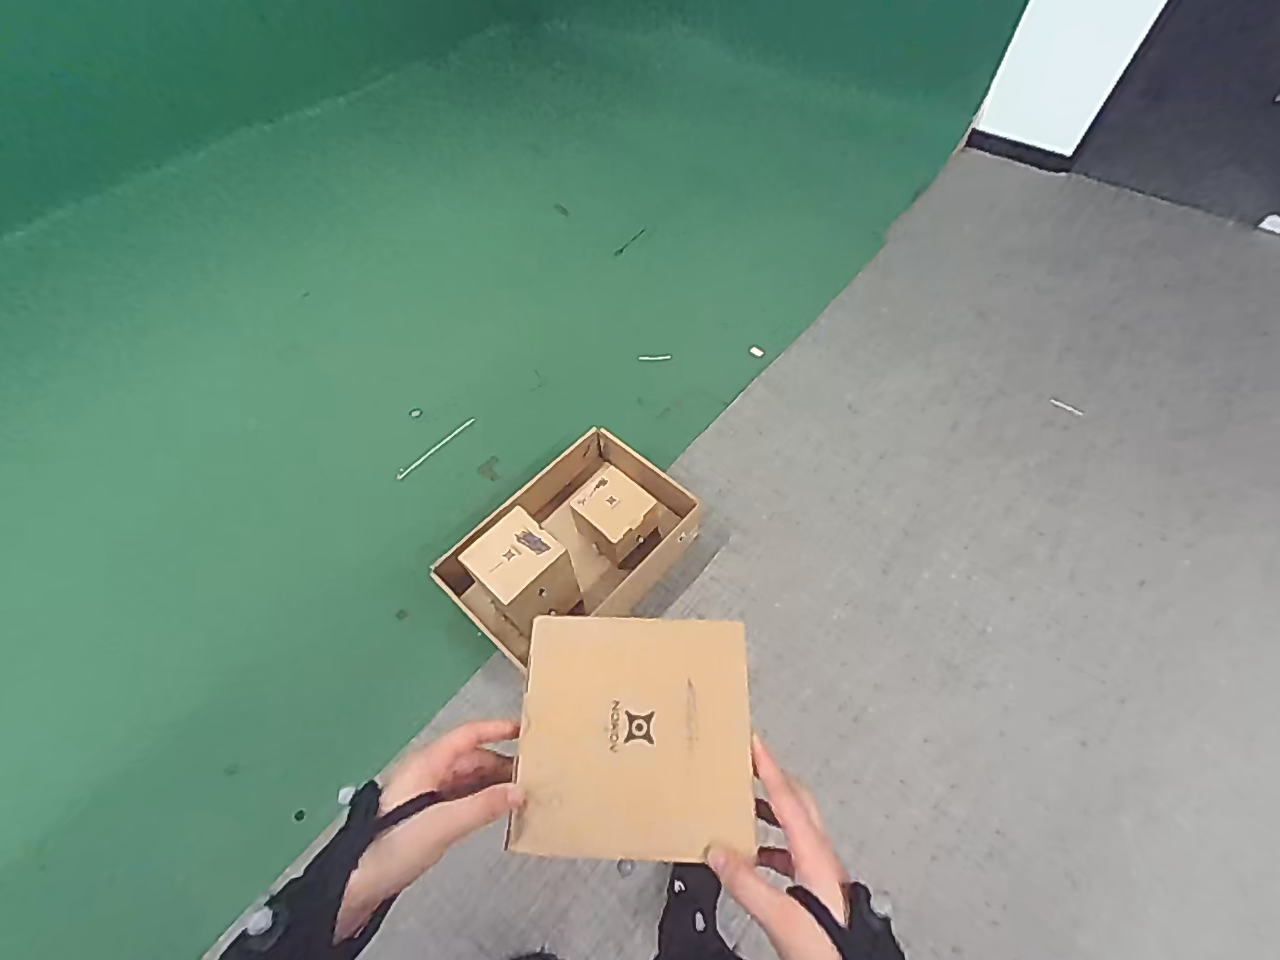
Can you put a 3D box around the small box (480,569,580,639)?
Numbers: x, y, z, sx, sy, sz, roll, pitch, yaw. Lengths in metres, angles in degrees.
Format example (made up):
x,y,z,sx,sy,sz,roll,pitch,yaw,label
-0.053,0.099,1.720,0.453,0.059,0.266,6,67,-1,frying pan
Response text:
x,y,z,sx,sy,sz,roll,pitch,yaw,label
-0.269,0.273,1.366,0.168,0.176,0.179,37,65,21,small box

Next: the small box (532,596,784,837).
x,y,z,sx,sy,sz,roll,pitch,yaw,label
0.016,0.205,0.475,0.179,0.176,0.168,0,63,1,small box

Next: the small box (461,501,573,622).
x,y,z,sx,sy,sz,roll,pitch,yaw,label
-0.268,0.188,1.225,0.168,0.176,0.179,38,66,22,small box
